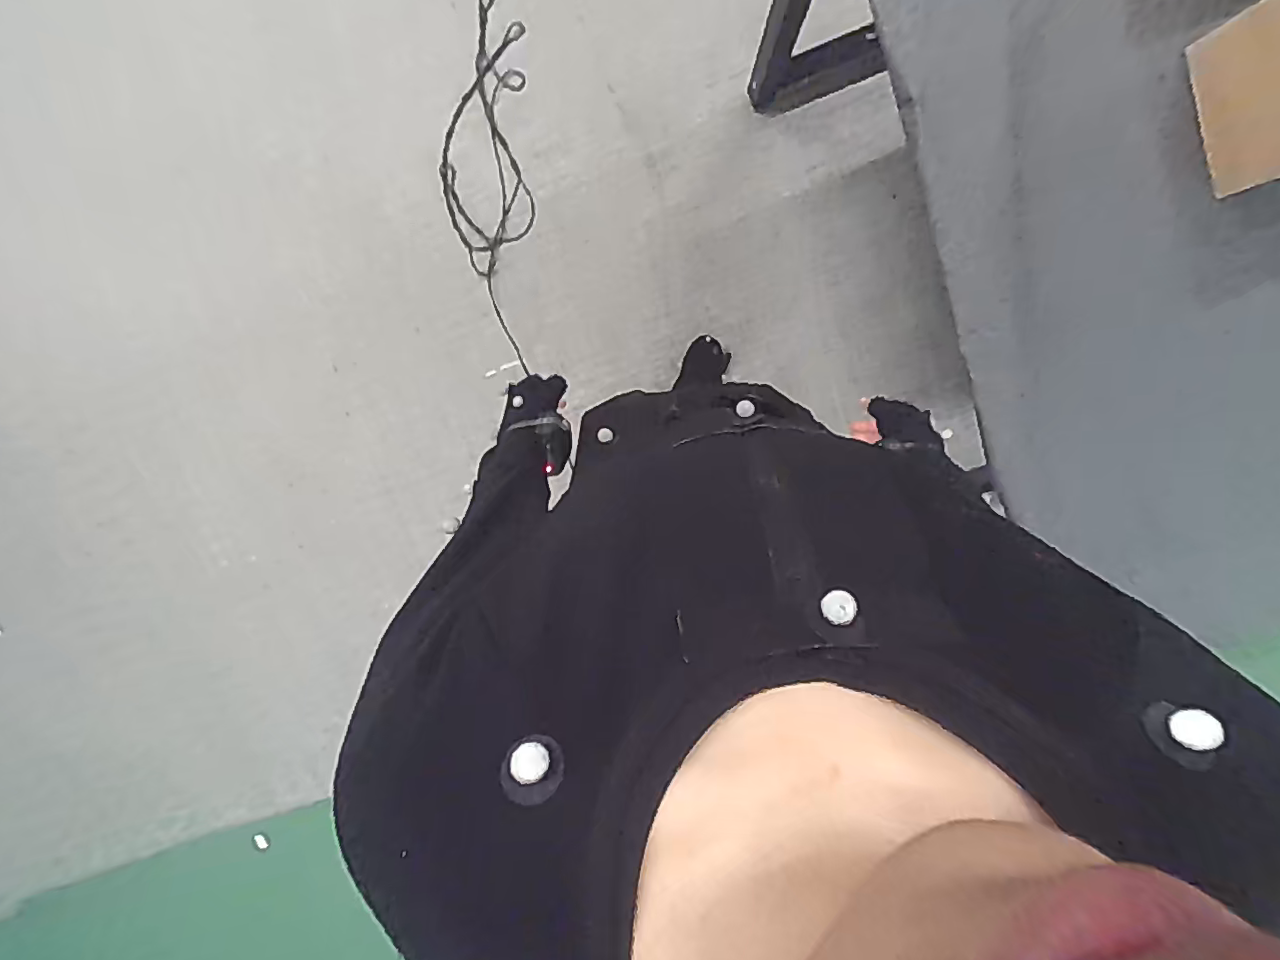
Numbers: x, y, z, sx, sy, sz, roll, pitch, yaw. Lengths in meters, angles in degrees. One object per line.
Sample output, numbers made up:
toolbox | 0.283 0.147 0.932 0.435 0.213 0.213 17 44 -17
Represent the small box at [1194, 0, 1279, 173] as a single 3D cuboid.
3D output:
small box | 0.720 -0.435 0.533 0.168 0.176 0.179 -21 99 6
